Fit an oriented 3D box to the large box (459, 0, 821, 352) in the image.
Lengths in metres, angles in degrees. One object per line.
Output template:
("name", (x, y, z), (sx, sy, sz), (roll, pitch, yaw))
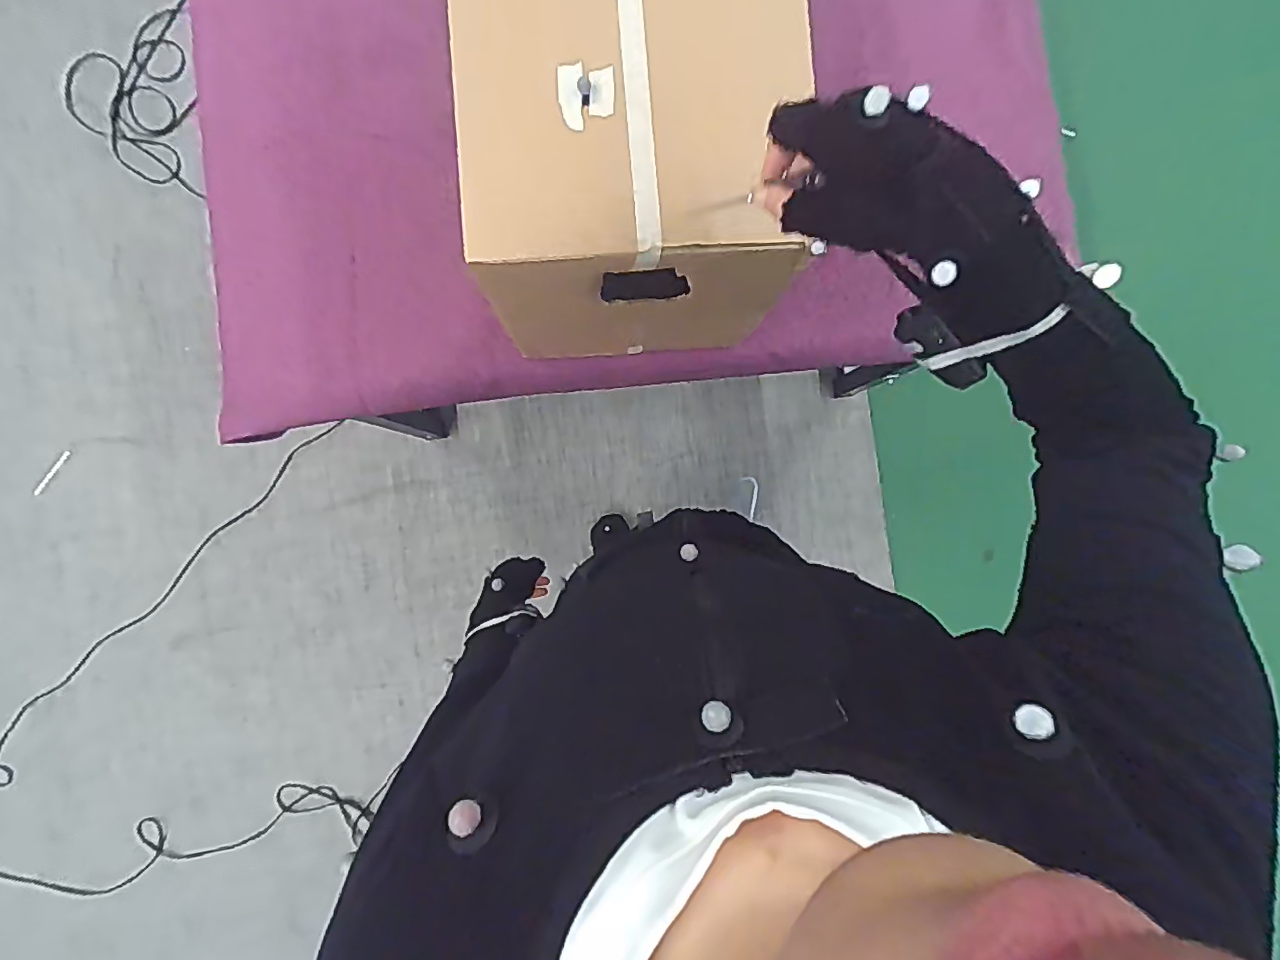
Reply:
("large box", (-0.013, -0.392, 0.633), (0.320, 0.320, 0.408), (-4, 89, -3))
